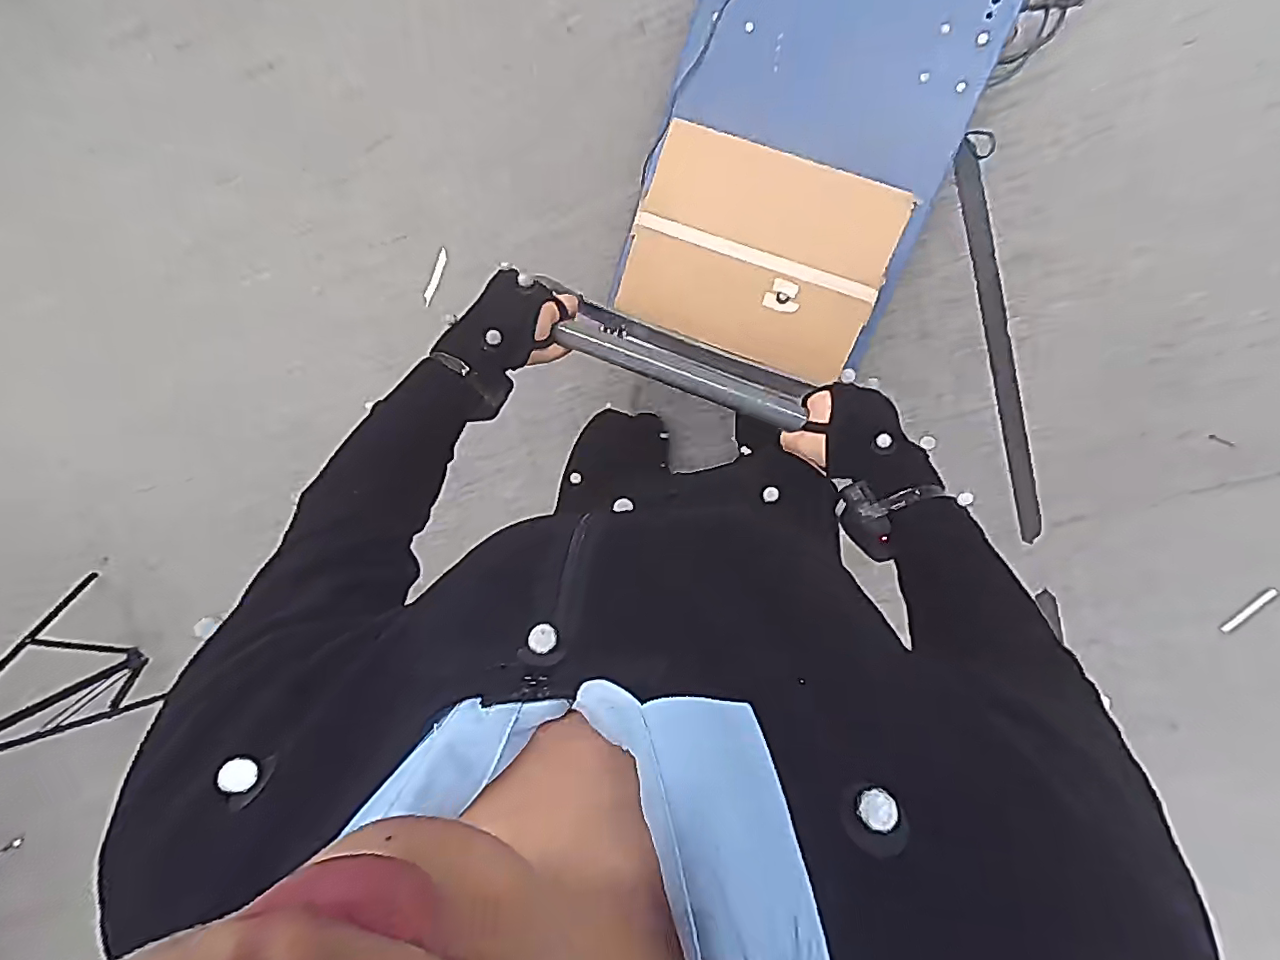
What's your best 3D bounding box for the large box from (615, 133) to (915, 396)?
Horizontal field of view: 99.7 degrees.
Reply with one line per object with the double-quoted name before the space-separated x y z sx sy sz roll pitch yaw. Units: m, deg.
"large box" 0.210 -0.376 1.018 0.408 0.320 0.320 21 106 5
